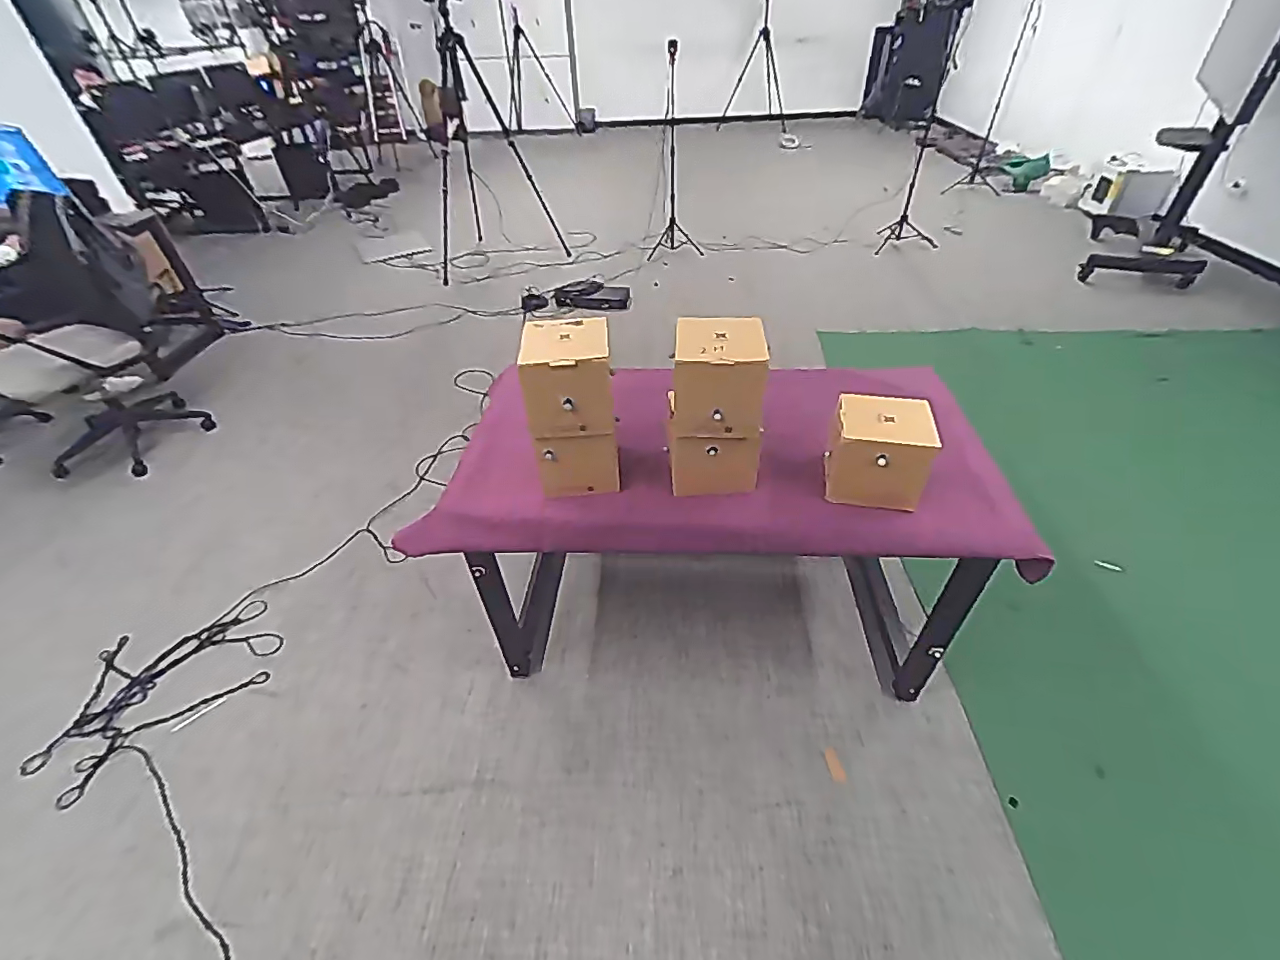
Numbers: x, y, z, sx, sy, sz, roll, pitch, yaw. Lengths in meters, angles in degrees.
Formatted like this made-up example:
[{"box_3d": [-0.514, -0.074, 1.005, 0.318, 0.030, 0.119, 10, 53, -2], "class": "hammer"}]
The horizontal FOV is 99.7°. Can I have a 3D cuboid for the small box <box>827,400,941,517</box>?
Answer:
[{"box_3d": [0.490, -0.043, 1.113, 0.179, 0.176, 0.168, 6, 41, 13], "class": "small box"}]

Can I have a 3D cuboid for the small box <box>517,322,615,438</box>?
[{"box_3d": [-0.137, -0.193, 1.069, 0.168, 0.176, 0.179, -3, 41, -1], "class": "small box"}]

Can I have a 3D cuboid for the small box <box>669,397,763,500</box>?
[{"box_3d": [0.155, -0.070, 1.163, 0.179, 0.176, 0.168, -3, 41, -1], "class": "small box"}]

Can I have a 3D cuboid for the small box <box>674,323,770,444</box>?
[{"box_3d": [0.153, -0.189, 1.049, 0.168, 0.176, 0.179, 2, 41, 5], "class": "small box"}]
